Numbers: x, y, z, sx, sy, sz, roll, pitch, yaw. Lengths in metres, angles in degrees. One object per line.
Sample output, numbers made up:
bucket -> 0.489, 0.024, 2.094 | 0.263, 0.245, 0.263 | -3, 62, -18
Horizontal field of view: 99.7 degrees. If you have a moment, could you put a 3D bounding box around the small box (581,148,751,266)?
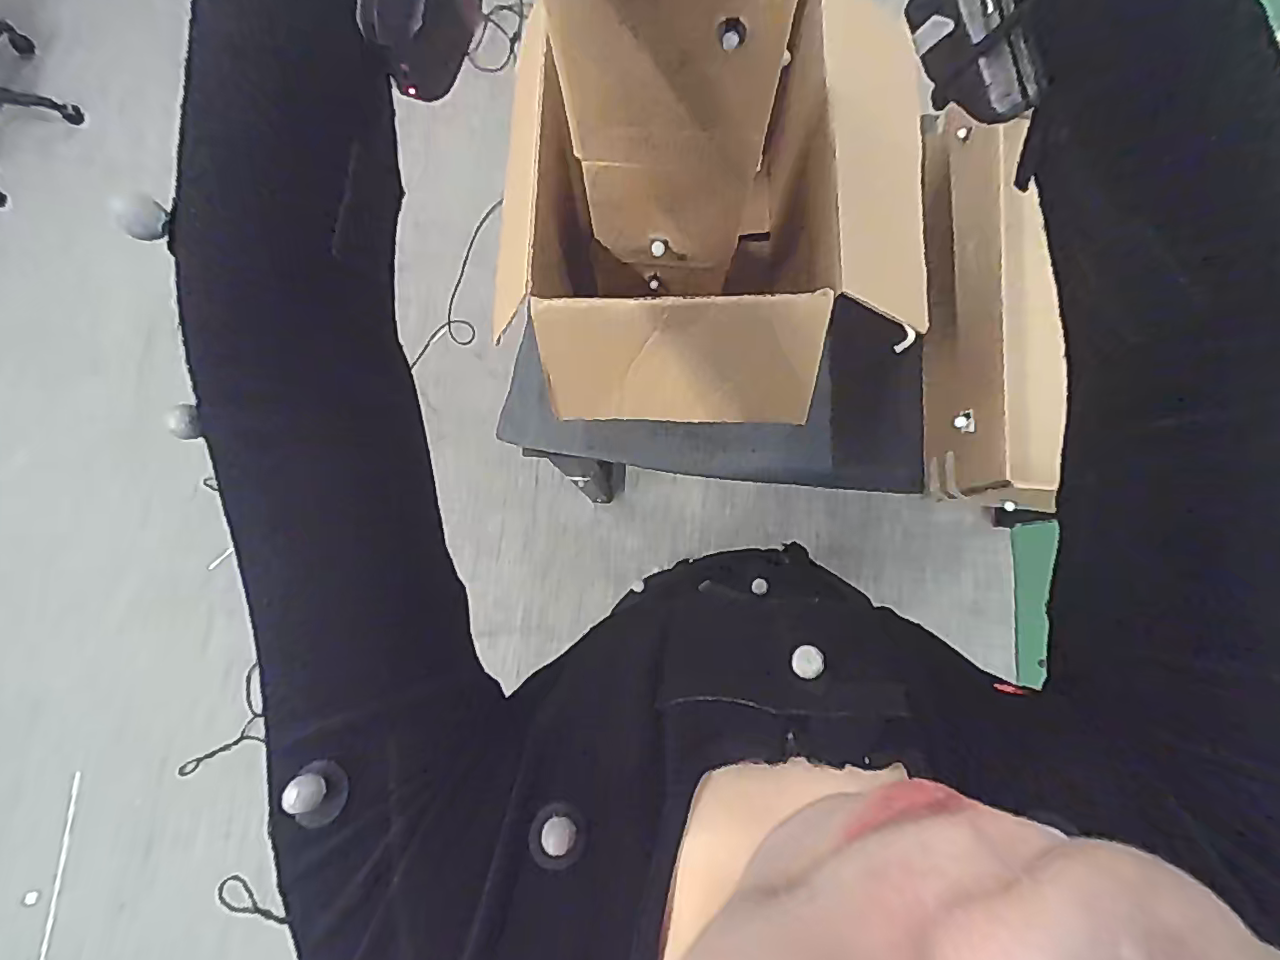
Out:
small box -> 0.034, -0.369, 0.604 | 0.168, 0.176, 0.179 | 6, 83, 2

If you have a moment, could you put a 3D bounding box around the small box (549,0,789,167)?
small box -> 0.028, -0.391, 0.444 | 0.179, 0.176, 0.168 | 7, 82, 2
